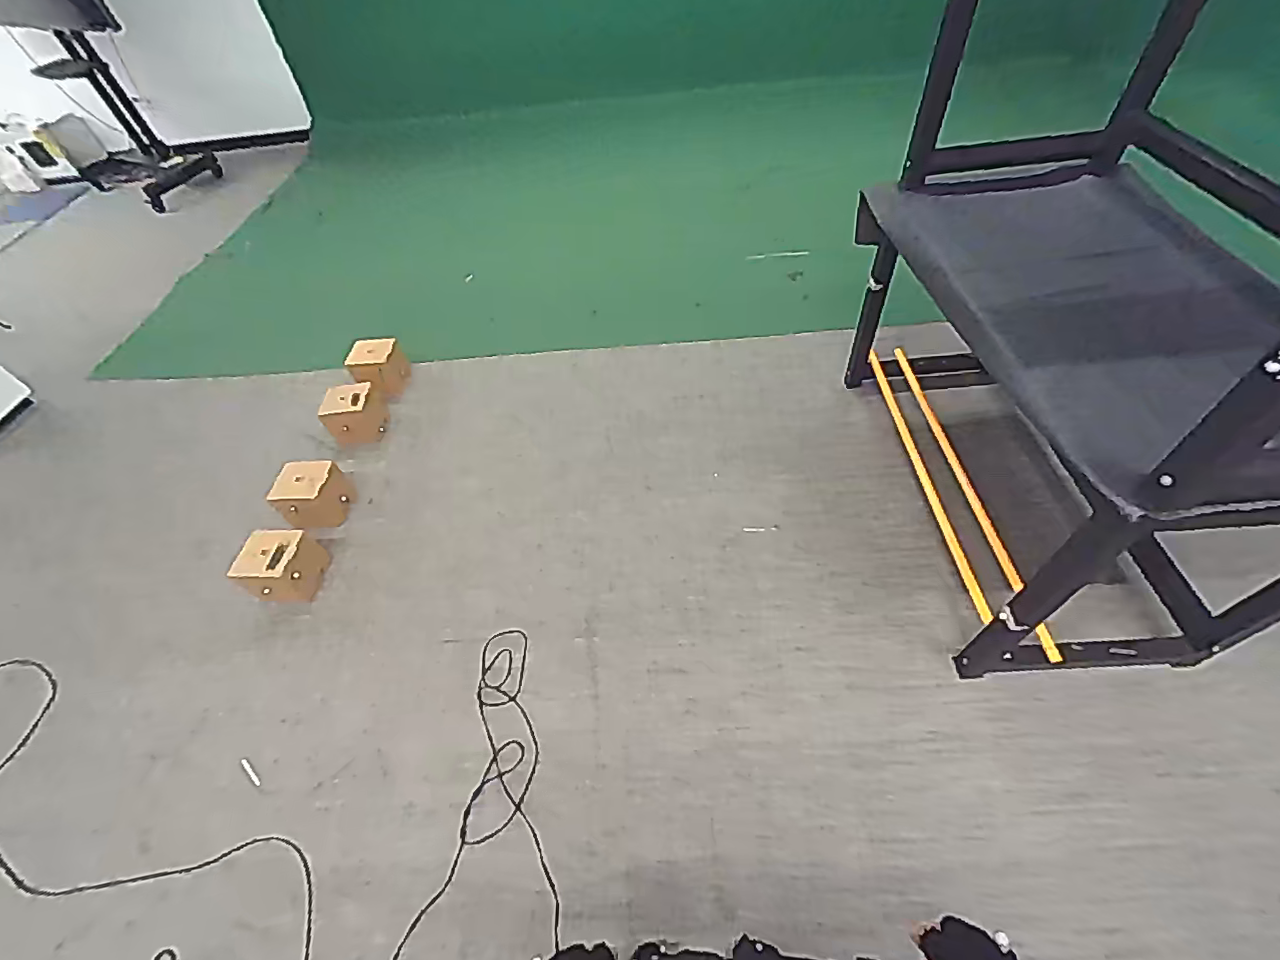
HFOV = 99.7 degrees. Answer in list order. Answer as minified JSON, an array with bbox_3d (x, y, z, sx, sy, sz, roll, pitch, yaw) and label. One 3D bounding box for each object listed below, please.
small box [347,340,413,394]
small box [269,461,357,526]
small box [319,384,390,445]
[{"bbox_3d":[-1.115,-0.482,2.332,0.179,0.176,0.168,-3,51,3],"label":"small box"},{"bbox_3d":[-1.131,0.050,1.885,0.179,0.176,0.168,-2,51,4],"label":"small box"},{"bbox_3d":[-1.121,-0.257,2.144,0.179,0.176,0.168,-7,50,2],"label":"small box"}]
